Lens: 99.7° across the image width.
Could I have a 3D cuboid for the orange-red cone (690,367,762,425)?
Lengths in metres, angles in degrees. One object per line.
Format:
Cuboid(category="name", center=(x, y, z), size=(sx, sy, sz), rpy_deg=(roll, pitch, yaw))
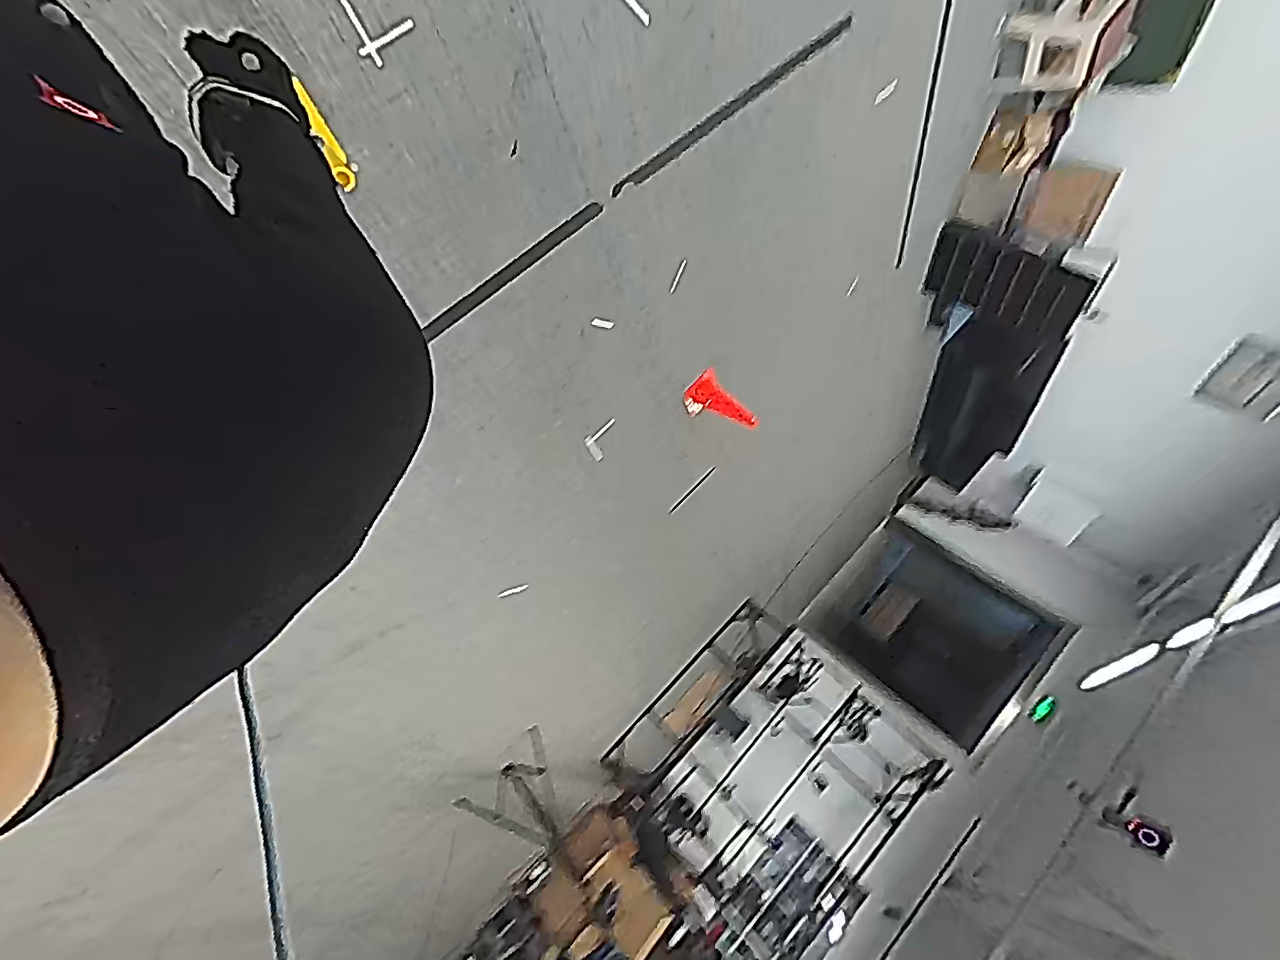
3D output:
Cuboid(category="orange-red cone", center=(0.443, -0.364, 2.621), size=(0.199, 0.360, 0.198), rpy_deg=(-47, 149, -10))
